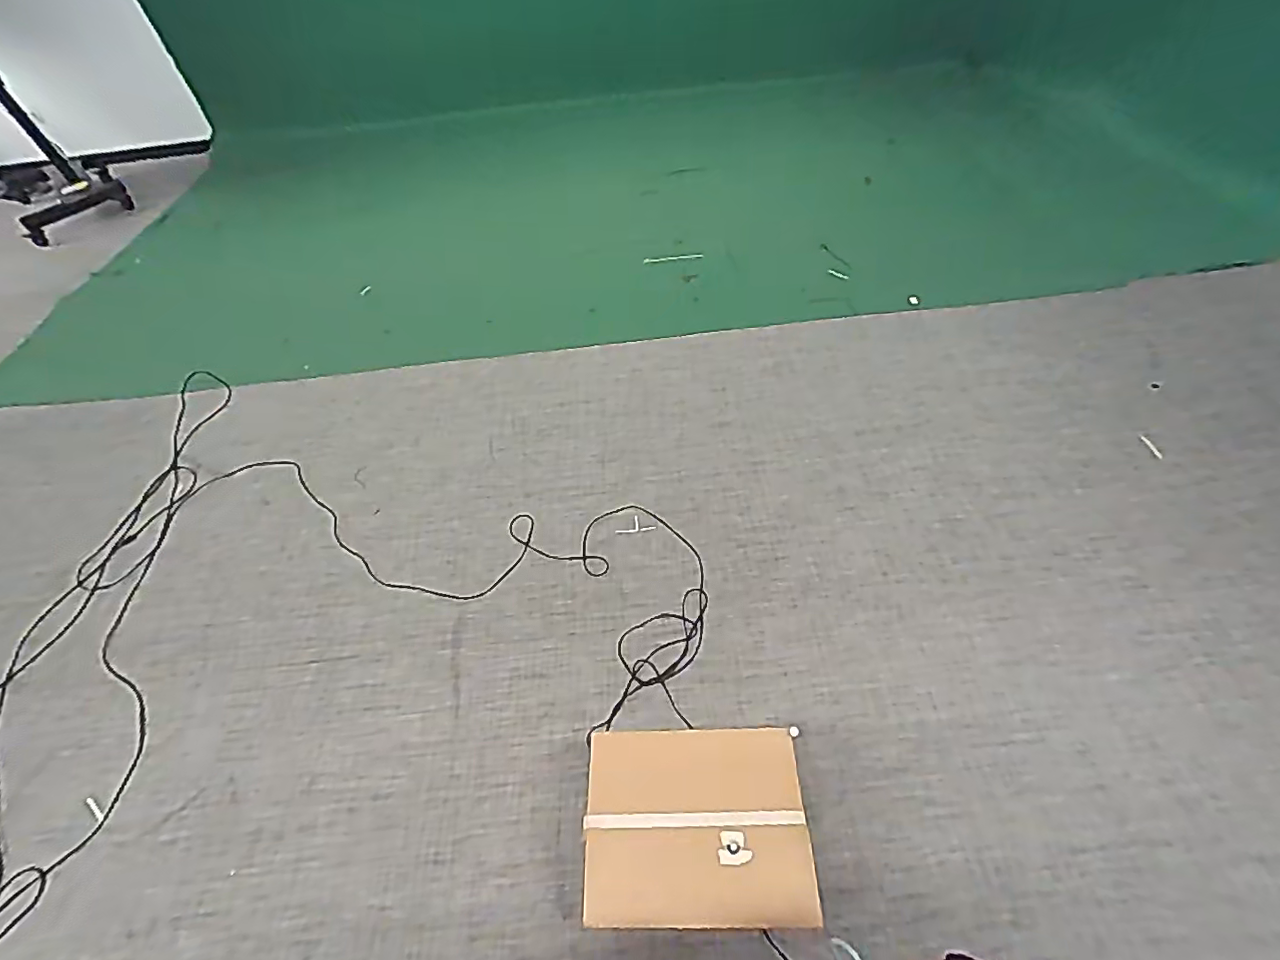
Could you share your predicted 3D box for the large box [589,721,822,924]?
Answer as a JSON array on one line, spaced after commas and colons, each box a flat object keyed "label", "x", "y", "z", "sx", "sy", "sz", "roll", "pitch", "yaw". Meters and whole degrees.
[{"label": "large box", "x": 0.117, "y": 0.711, "z": 1.119, "sx": 0.408, "sy": 0.320, "sz": 0.320, "roll": -3, "pitch": 52, "yaw": 3}]
